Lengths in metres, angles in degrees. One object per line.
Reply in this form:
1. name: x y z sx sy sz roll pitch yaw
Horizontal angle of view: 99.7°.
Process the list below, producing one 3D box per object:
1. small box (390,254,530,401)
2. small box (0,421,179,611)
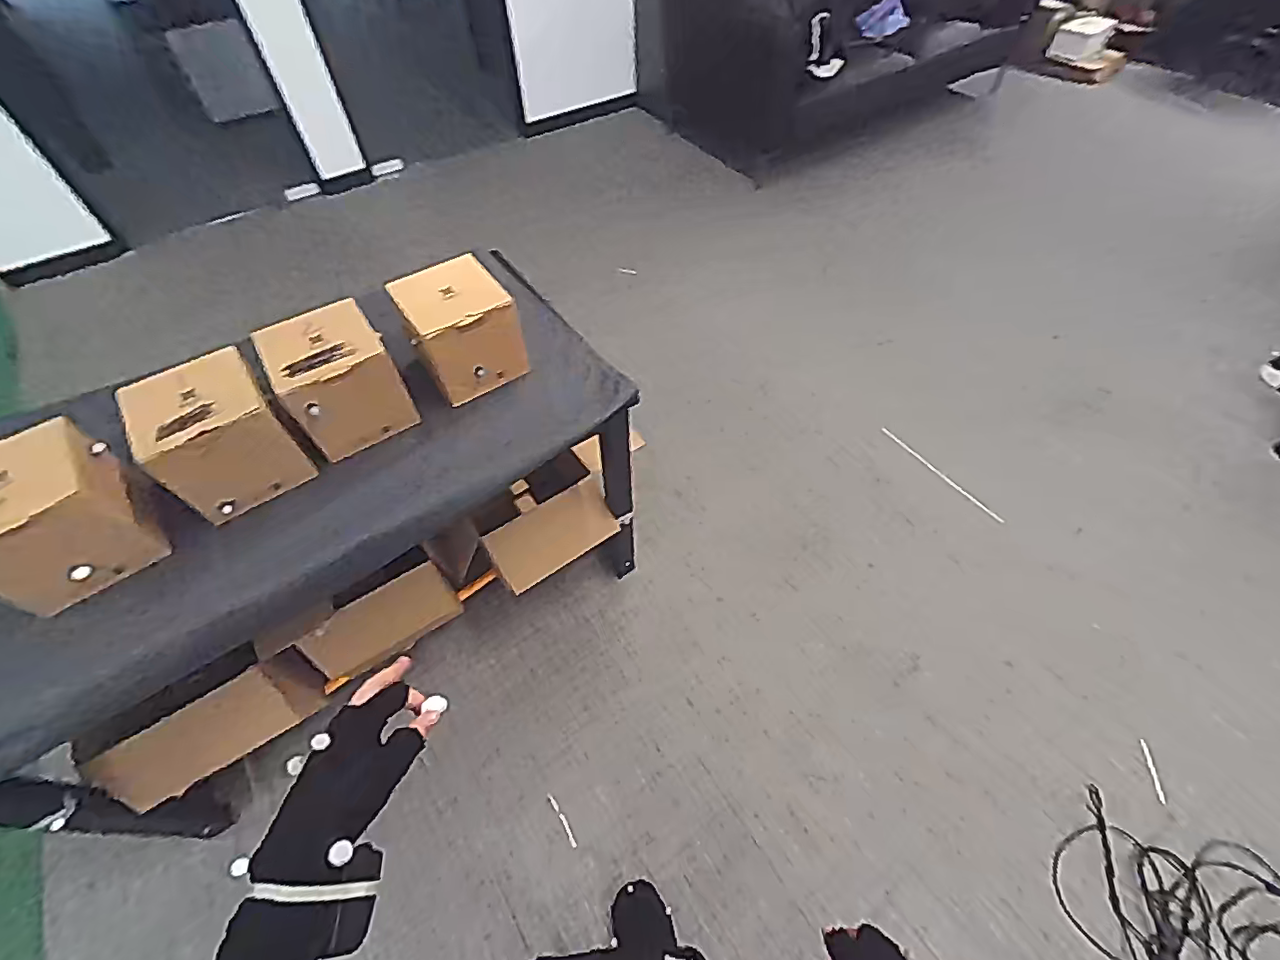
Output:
1. small box: -0.327 -0.281 1.005 0.168 0.176 0.179 -32 61 -19
2. small box: -0.825 0.055 0.779 0.168 0.176 0.179 -35 61 -20
